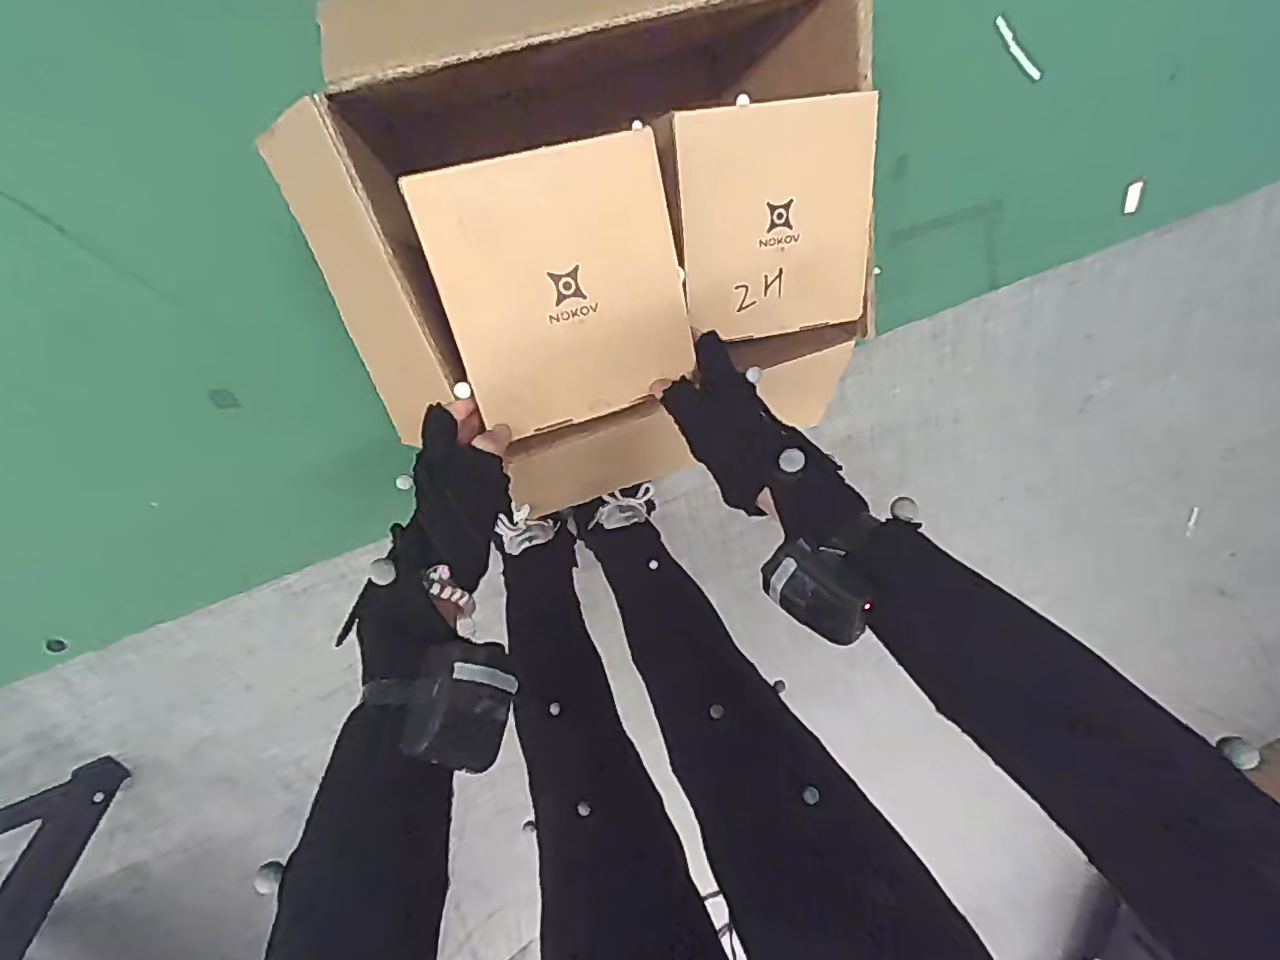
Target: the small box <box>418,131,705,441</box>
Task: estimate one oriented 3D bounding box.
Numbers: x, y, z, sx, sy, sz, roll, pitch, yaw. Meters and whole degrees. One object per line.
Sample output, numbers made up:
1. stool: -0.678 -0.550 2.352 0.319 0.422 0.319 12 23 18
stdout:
1. small box: -0.067 -0.151 0.440 0.168 0.176 0.179 -18 113 -12
